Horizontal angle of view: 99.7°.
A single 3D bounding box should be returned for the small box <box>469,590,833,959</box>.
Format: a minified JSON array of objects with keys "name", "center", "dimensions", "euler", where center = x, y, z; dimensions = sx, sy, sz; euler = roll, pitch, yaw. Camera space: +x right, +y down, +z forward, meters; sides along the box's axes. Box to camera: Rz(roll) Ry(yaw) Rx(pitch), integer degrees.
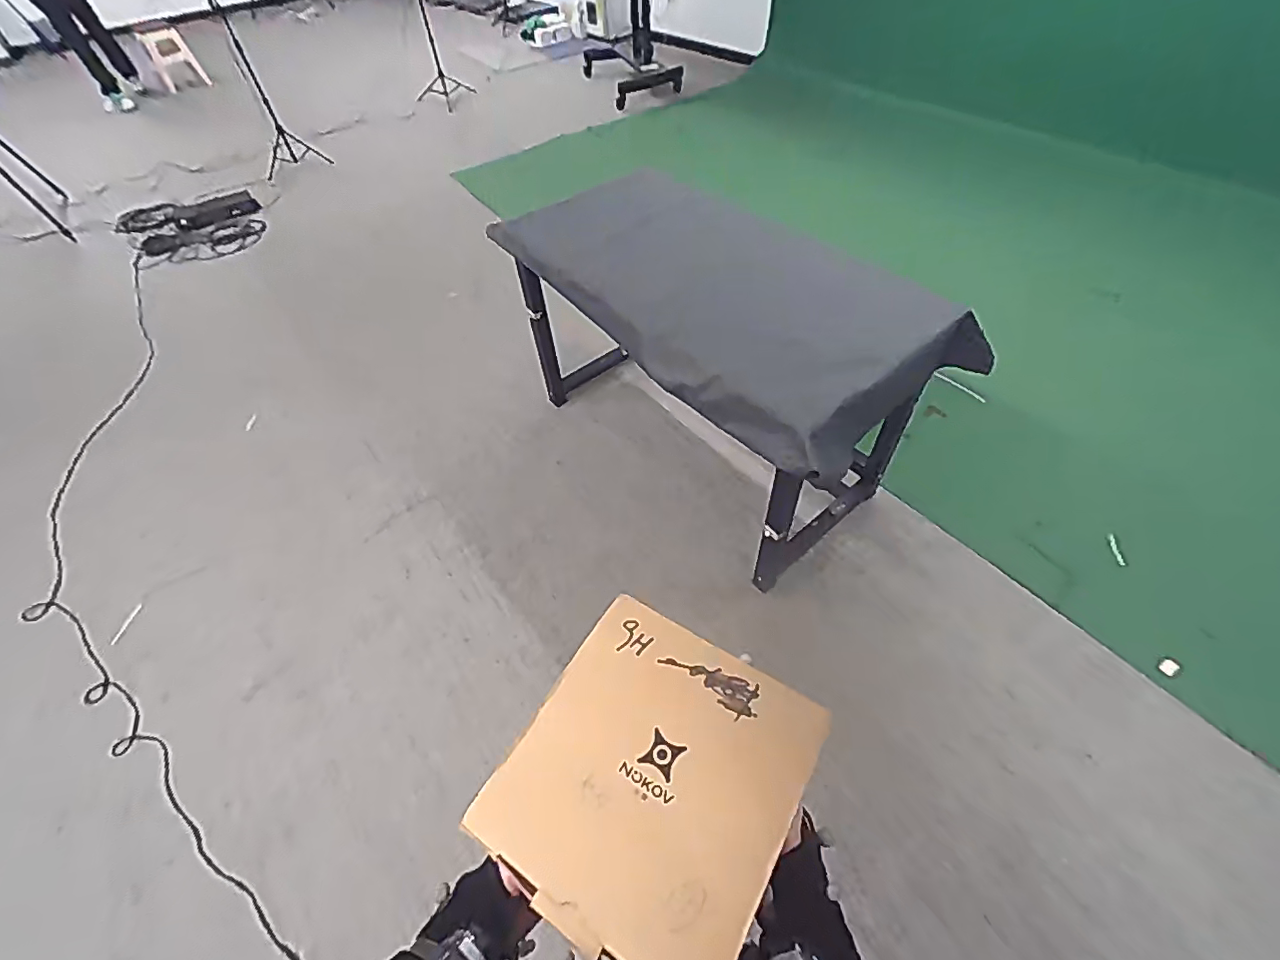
[{"name":"small box","center":[0.015,0.221,0.395],"dimensions":[0.168,0.176,0.179],"euler":[26,59,21]}]
